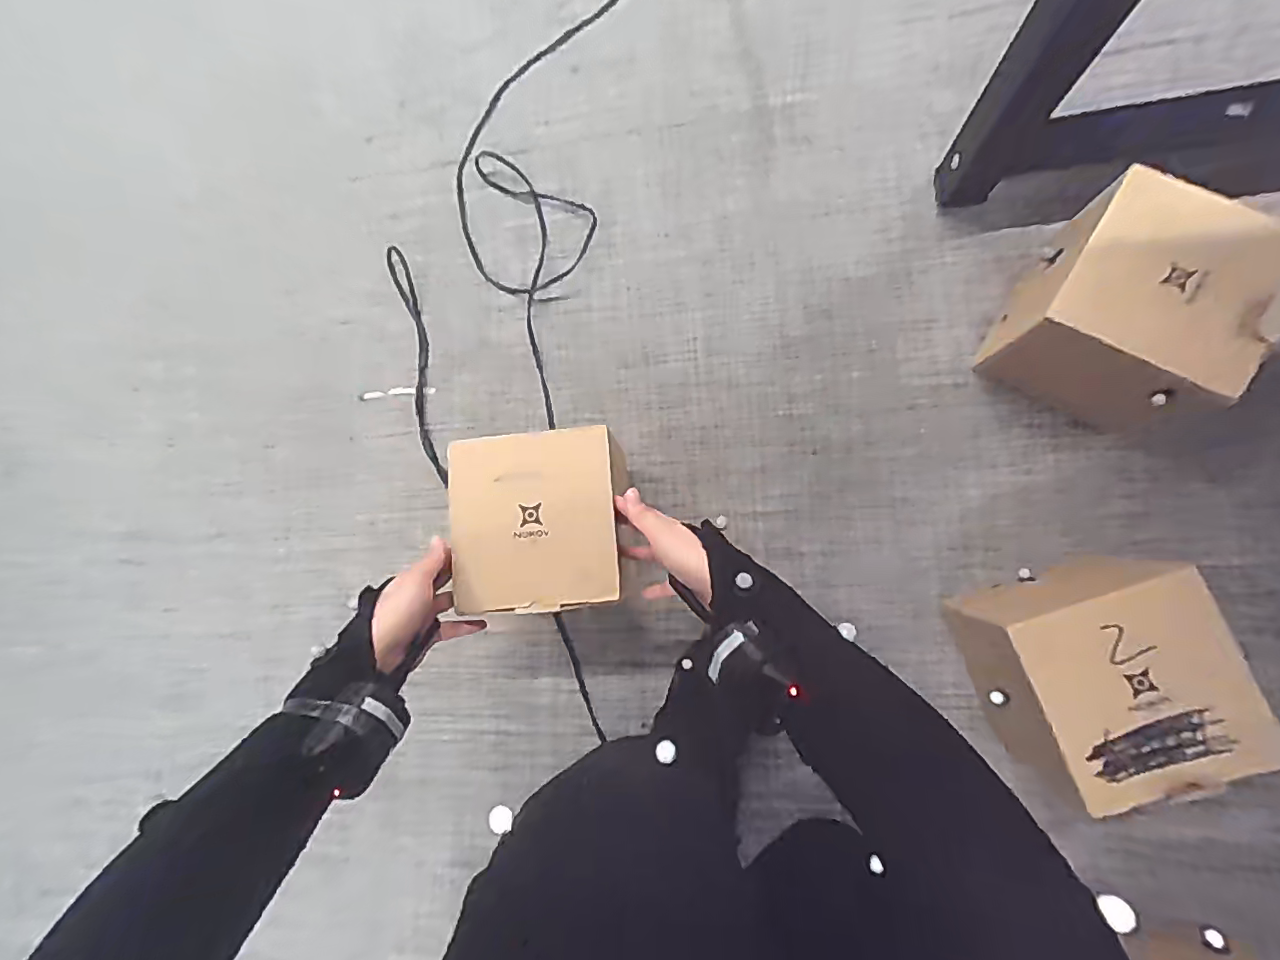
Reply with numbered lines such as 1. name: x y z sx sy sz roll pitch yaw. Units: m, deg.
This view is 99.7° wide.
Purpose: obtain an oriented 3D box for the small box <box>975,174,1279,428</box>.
1. small box: 0.501 -0.170 0.570 0.179 0.176 0.168 29 90 10
